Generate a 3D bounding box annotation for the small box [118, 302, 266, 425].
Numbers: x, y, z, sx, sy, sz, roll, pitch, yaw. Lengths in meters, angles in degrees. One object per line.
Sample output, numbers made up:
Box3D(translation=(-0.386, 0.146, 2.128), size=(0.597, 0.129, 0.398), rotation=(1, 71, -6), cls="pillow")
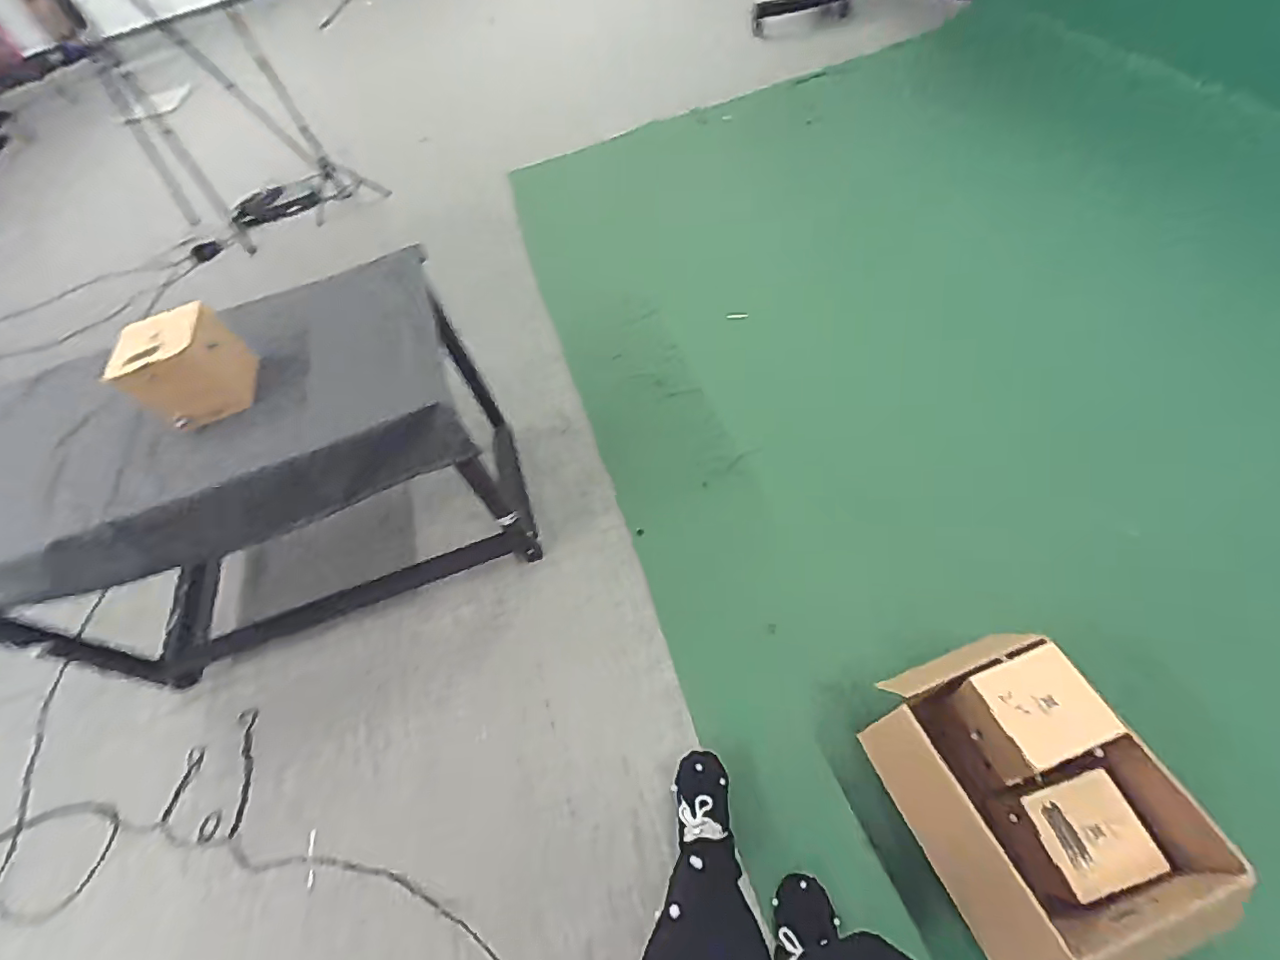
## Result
Box3D(translation=(-0.942, -0.239, 1.156), size=(0.168, 0.176, 0.179), rotation=(-21, 54, -2), cls="small box")
